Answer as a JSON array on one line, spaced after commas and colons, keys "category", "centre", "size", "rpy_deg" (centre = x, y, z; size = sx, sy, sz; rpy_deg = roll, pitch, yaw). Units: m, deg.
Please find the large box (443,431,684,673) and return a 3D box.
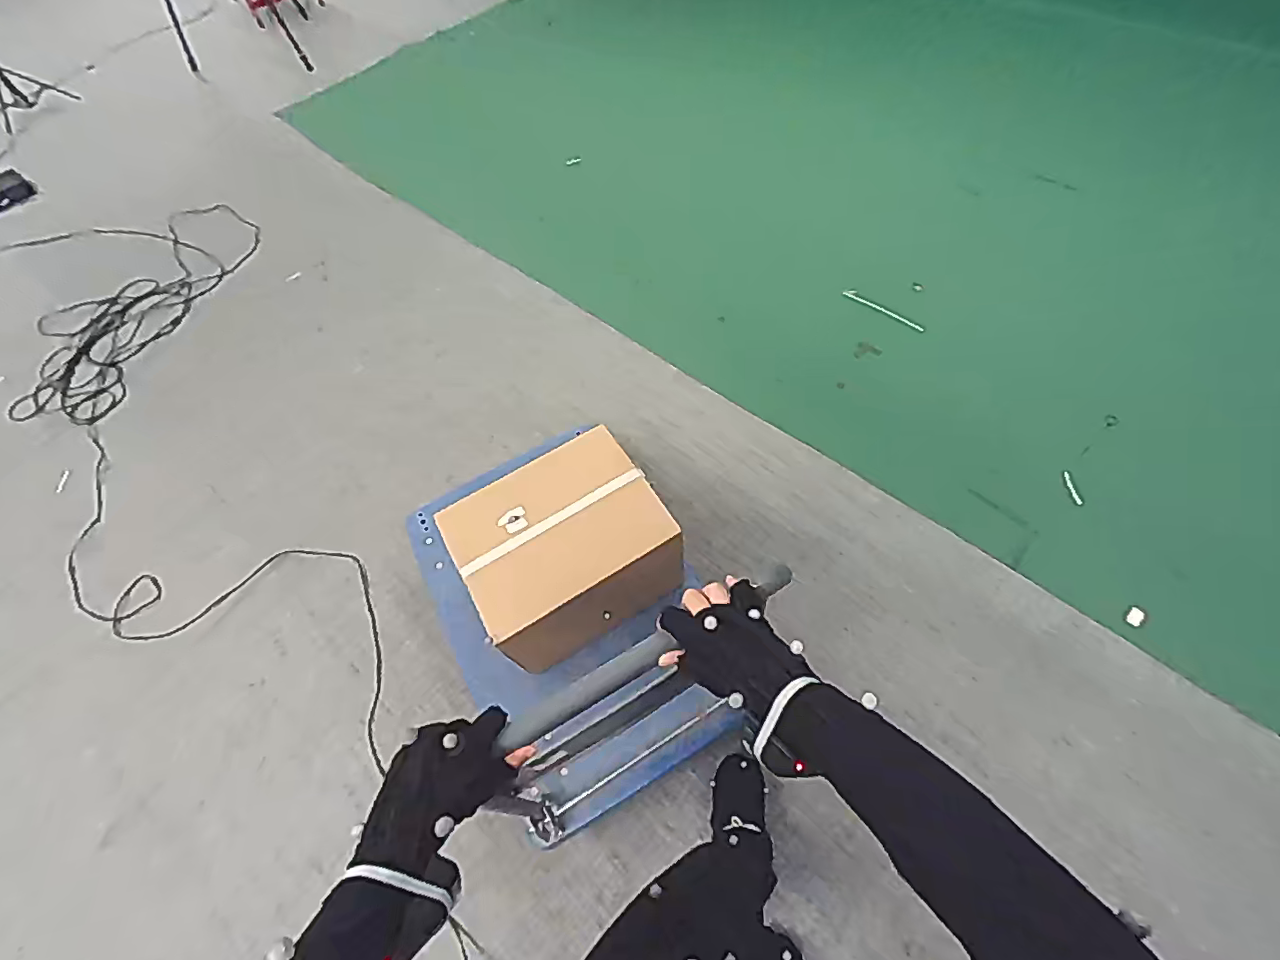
[{"category": "large box", "centre": [-0.150, 0.169, 1.216], "size": [0.408, 0.320, 0.320], "rpy_deg": [-31, 61, -11]}]
